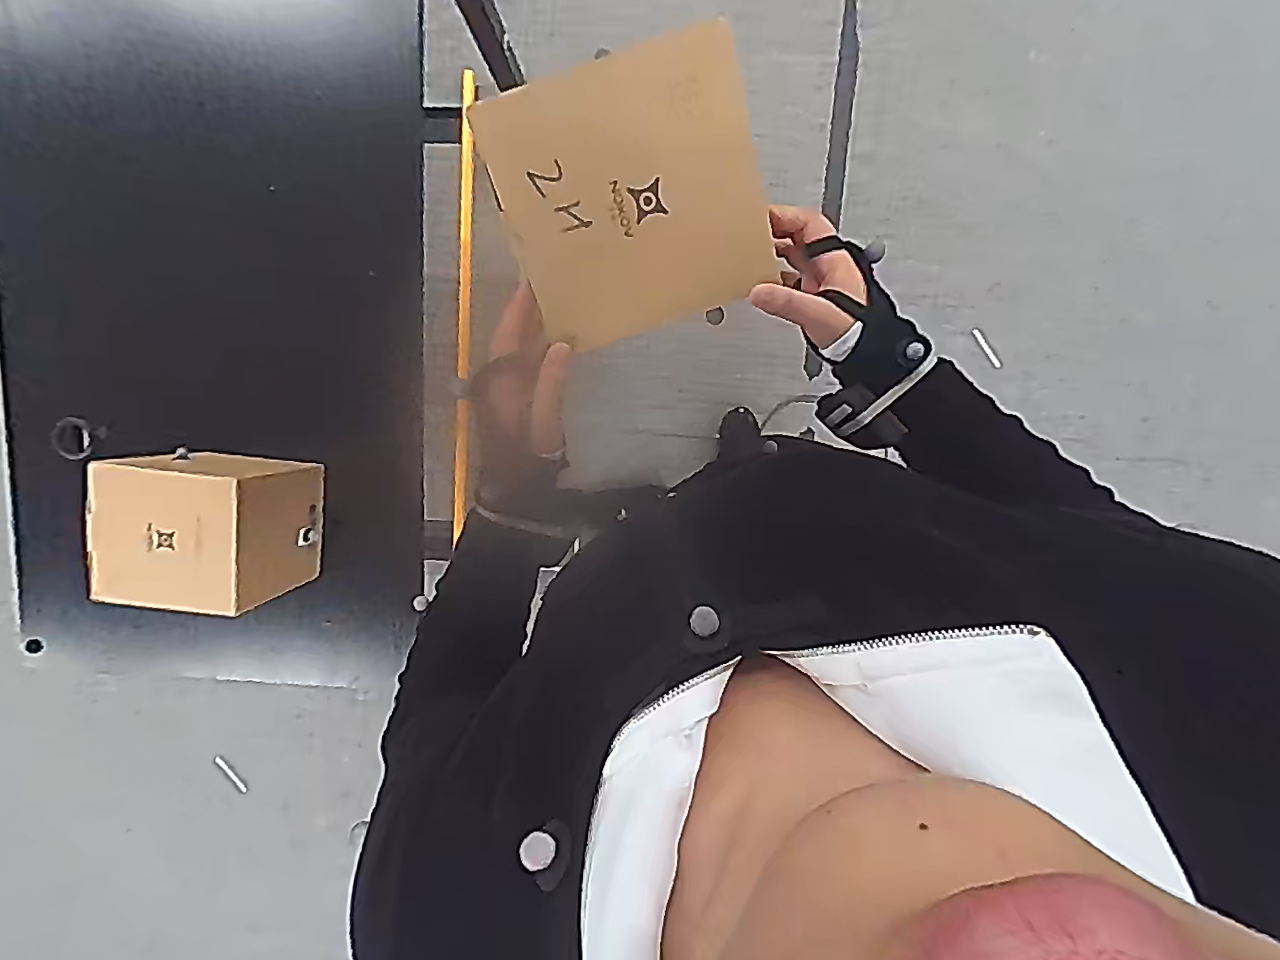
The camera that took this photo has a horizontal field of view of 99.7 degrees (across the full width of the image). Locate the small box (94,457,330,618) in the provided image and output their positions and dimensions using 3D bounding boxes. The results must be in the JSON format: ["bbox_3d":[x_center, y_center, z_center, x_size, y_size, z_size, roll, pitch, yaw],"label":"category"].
[{"bbox_3d":[-0.540,0.063,0.702,0.179,0.176,0.168,5,98,0],"label":"small box"}]

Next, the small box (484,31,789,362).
[{"bbox_3d":[-0.003,-0.212,0.439,0.179,0.176,0.168,-18,112,1],"label":"small box"}]
